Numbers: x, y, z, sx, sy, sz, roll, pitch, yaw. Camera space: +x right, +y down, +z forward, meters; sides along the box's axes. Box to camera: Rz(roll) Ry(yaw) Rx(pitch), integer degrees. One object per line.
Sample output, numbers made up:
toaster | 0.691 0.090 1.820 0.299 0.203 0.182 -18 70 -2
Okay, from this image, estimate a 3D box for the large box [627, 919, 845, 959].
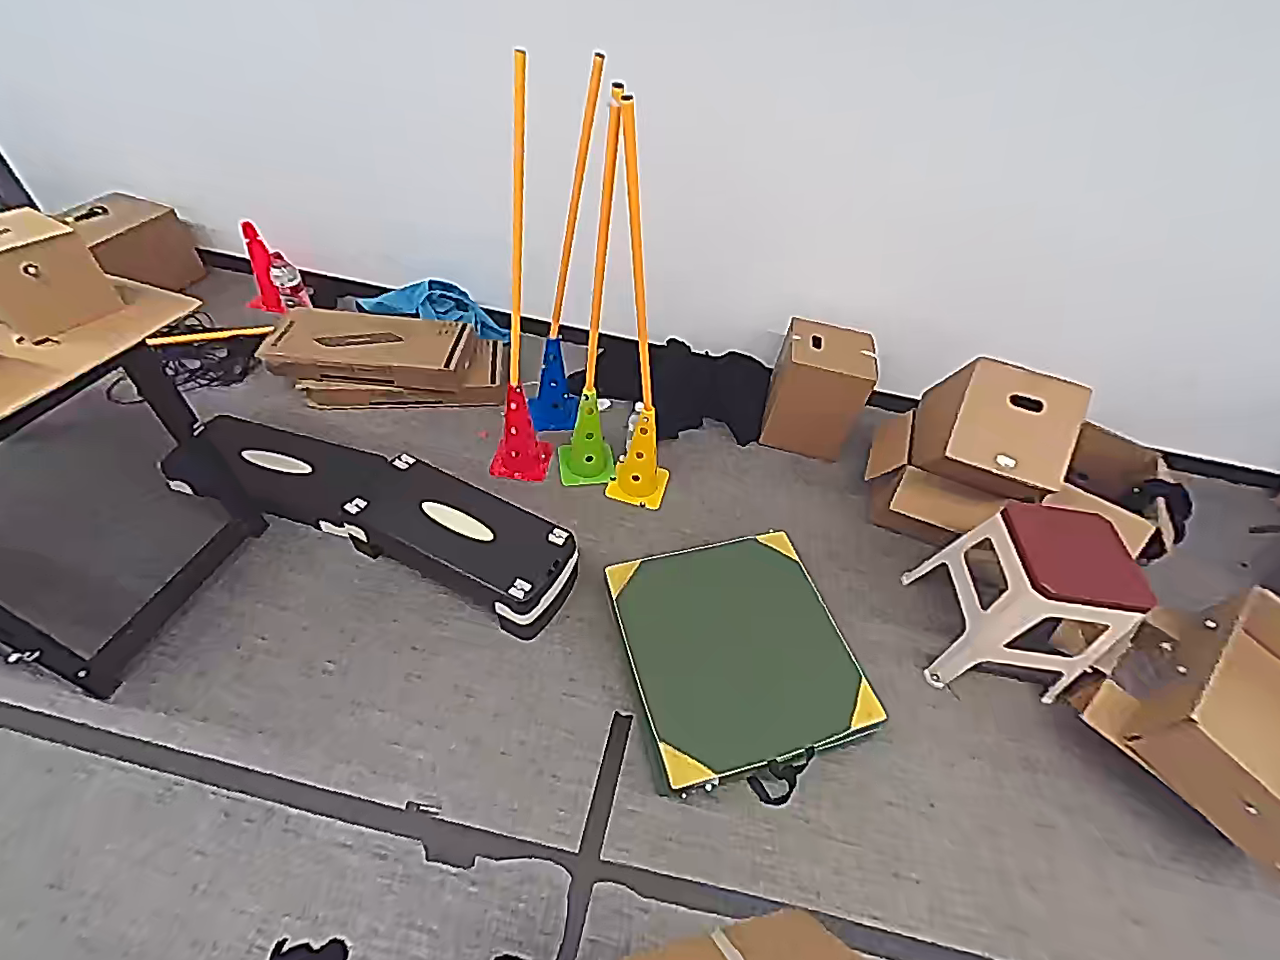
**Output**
large box | 0.175 0.807 0.628 0.320 0.408 0.320 -2 73 -15
